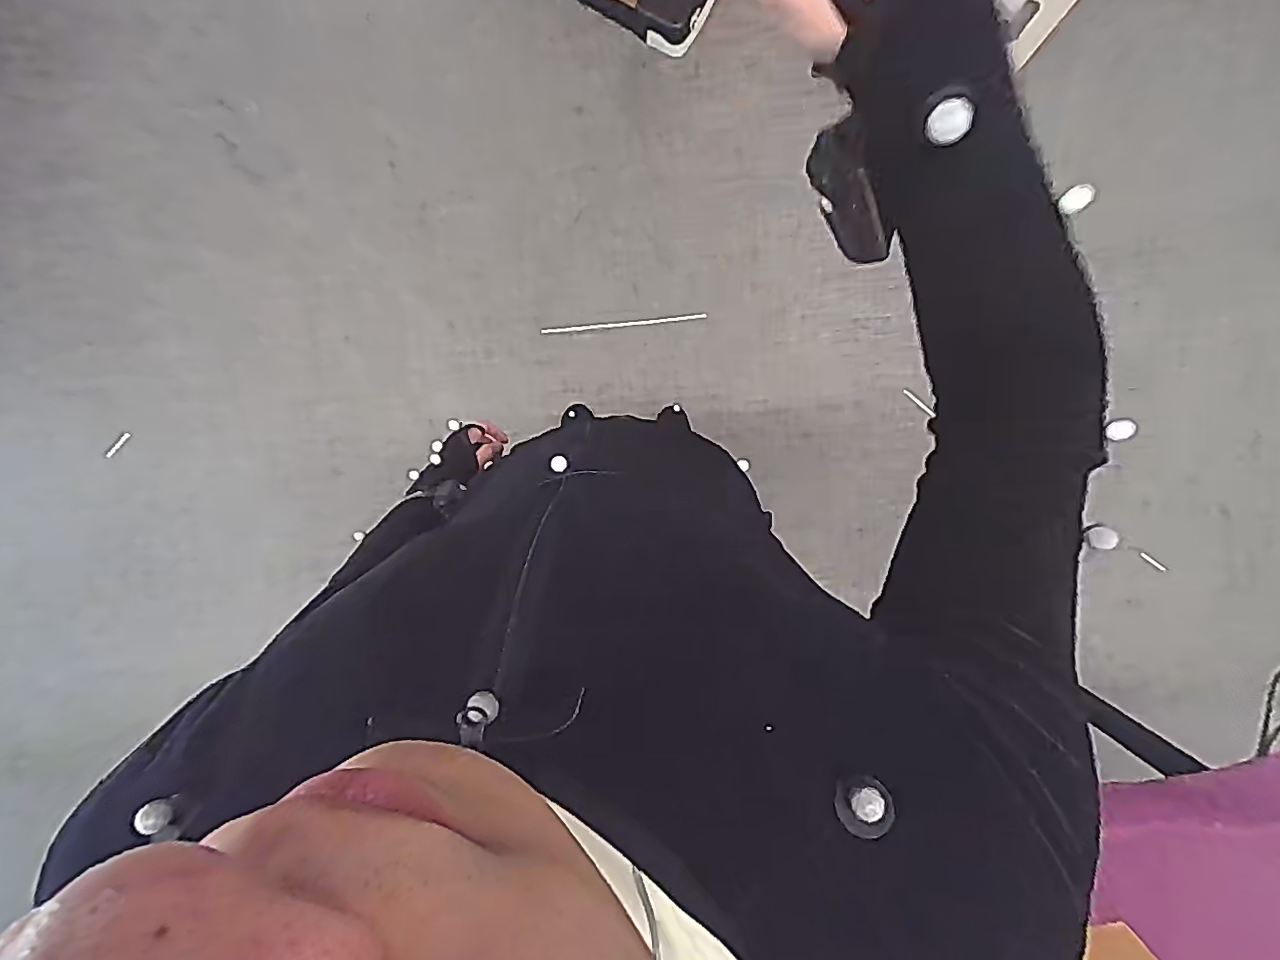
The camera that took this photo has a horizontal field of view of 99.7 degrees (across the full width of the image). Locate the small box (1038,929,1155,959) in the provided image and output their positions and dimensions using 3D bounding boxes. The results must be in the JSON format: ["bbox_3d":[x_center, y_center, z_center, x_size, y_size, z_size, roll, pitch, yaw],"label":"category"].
[{"bbox_3d":[0.824,0.928,0.932,0.179,0.176,0.168,-8,97,0],"label":"small box"}]
